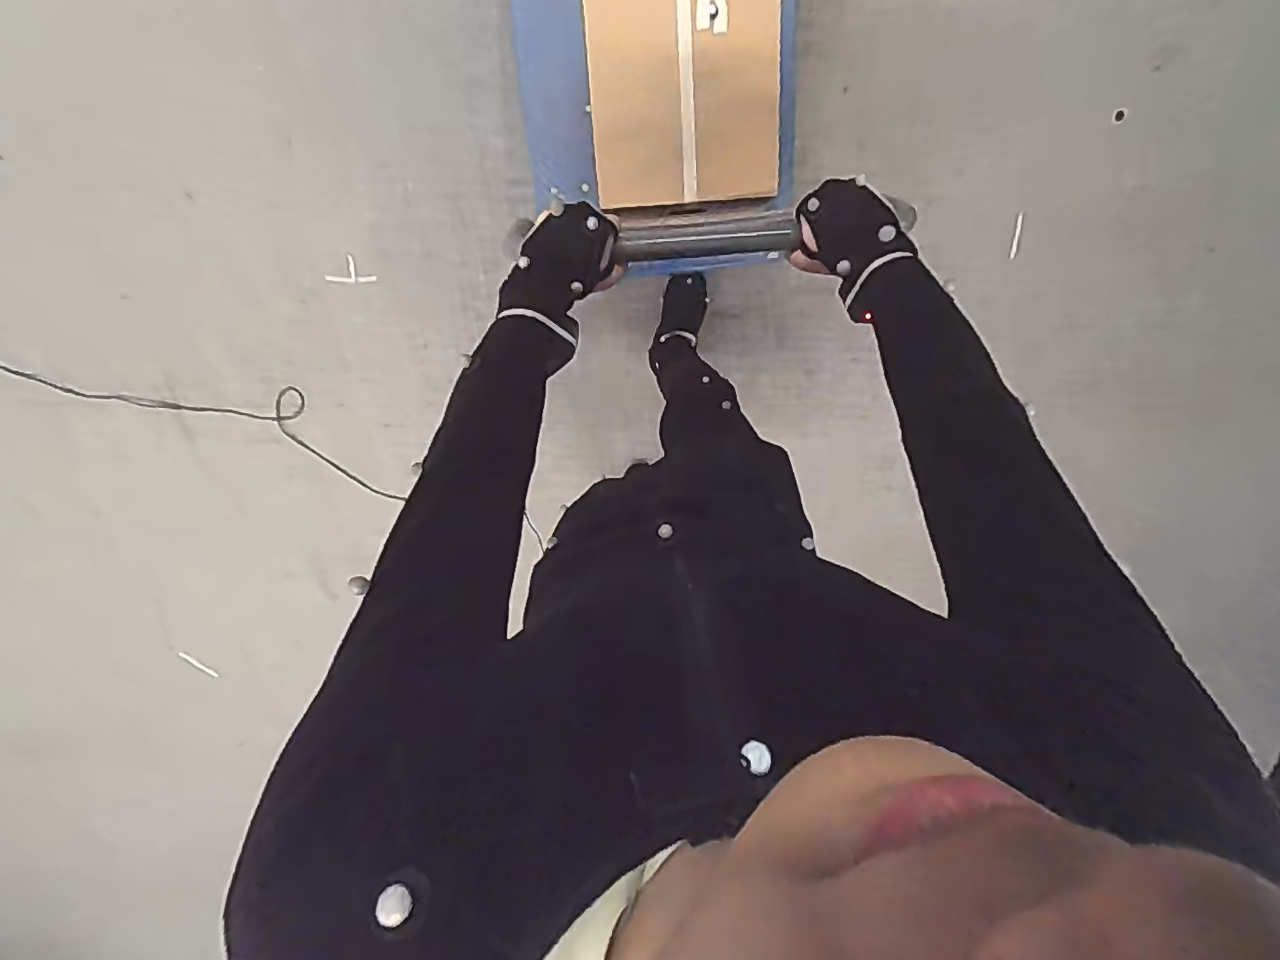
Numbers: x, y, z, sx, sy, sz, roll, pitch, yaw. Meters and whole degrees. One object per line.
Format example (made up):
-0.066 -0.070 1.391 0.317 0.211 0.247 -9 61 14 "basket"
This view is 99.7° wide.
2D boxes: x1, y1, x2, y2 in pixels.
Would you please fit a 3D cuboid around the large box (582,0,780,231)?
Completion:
0.070 -0.720 1.022 0.320 0.320 0.408 -5 108 0 "large box"
